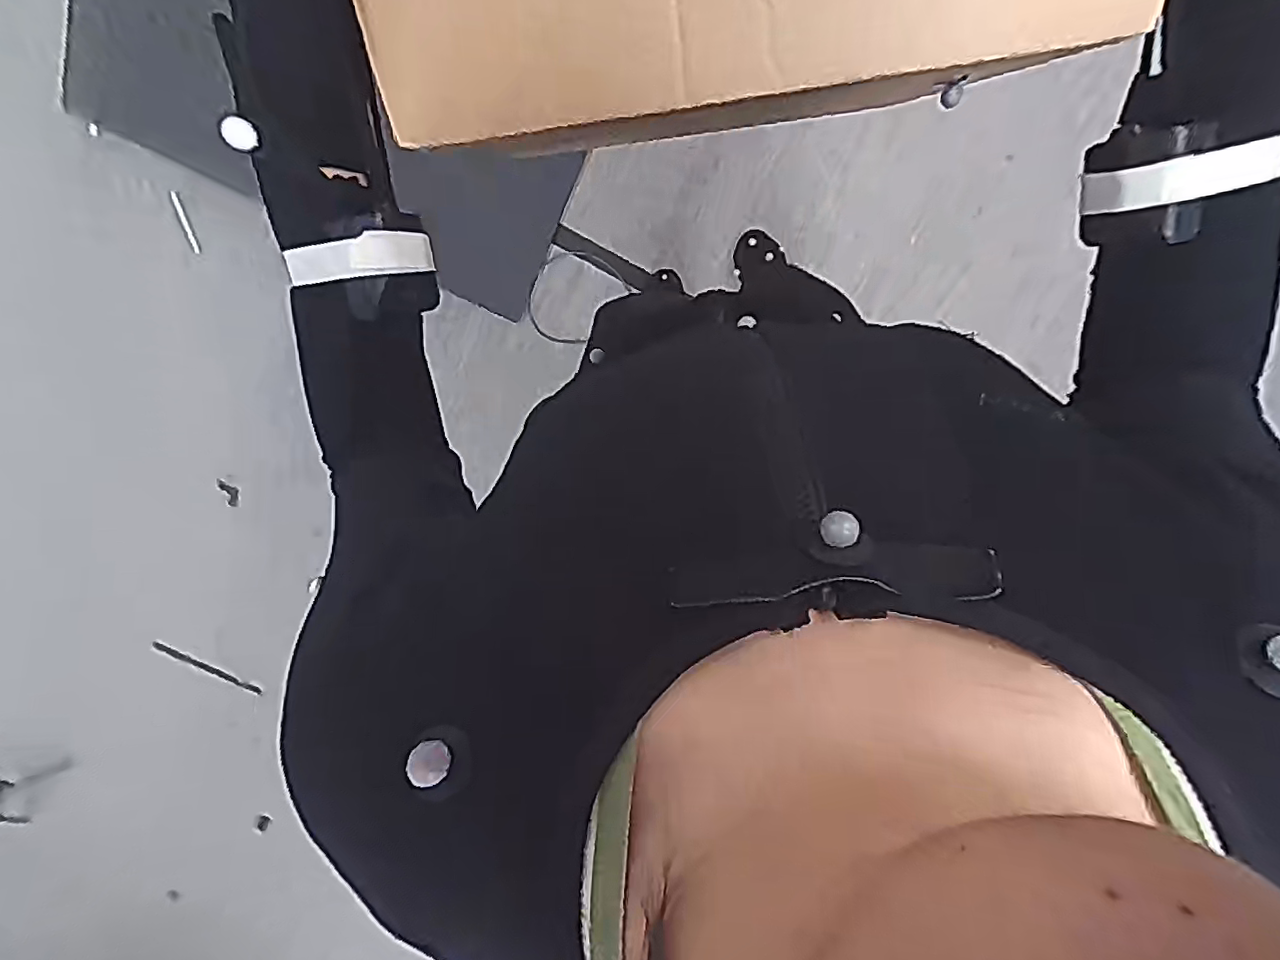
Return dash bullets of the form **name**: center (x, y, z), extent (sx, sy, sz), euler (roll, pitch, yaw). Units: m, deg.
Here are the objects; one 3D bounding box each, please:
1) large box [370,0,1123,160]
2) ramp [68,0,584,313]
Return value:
- **large box**: center (0.044, -0.425, 0.360), extent (0.408, 0.320, 0.320), euler (-6, 119, 6)
- **ramp**: center (-0.653, -0.813, 1.191), extent (0.991, 0.206, 0.509), euler (25, 110, -6)
